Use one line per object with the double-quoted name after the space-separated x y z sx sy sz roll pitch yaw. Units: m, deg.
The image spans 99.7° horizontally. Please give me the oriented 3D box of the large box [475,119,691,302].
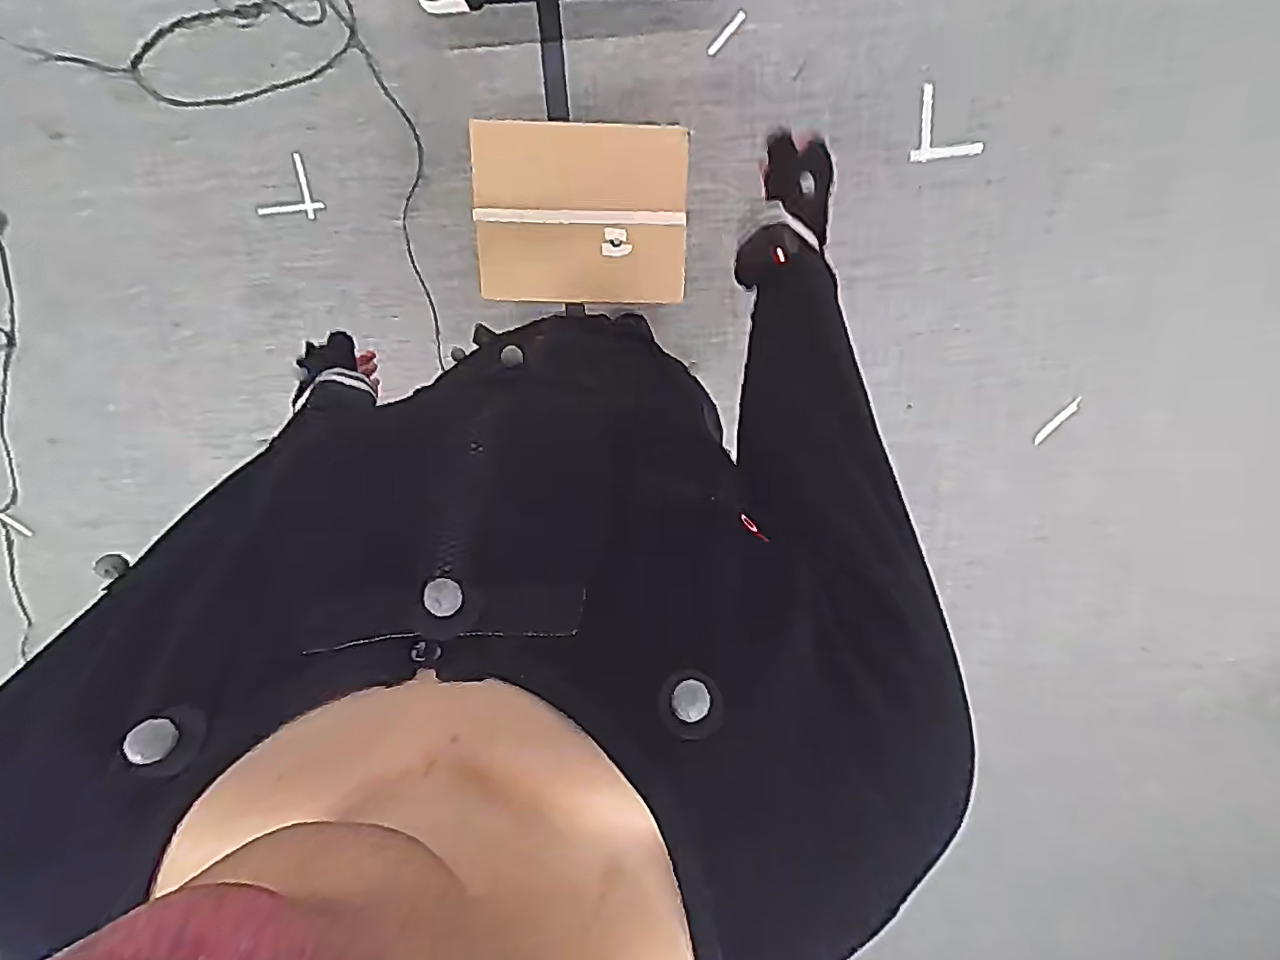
-0.114 -0.555 1.177 0.408 0.320 0.320 0 109 -4 "large box"
